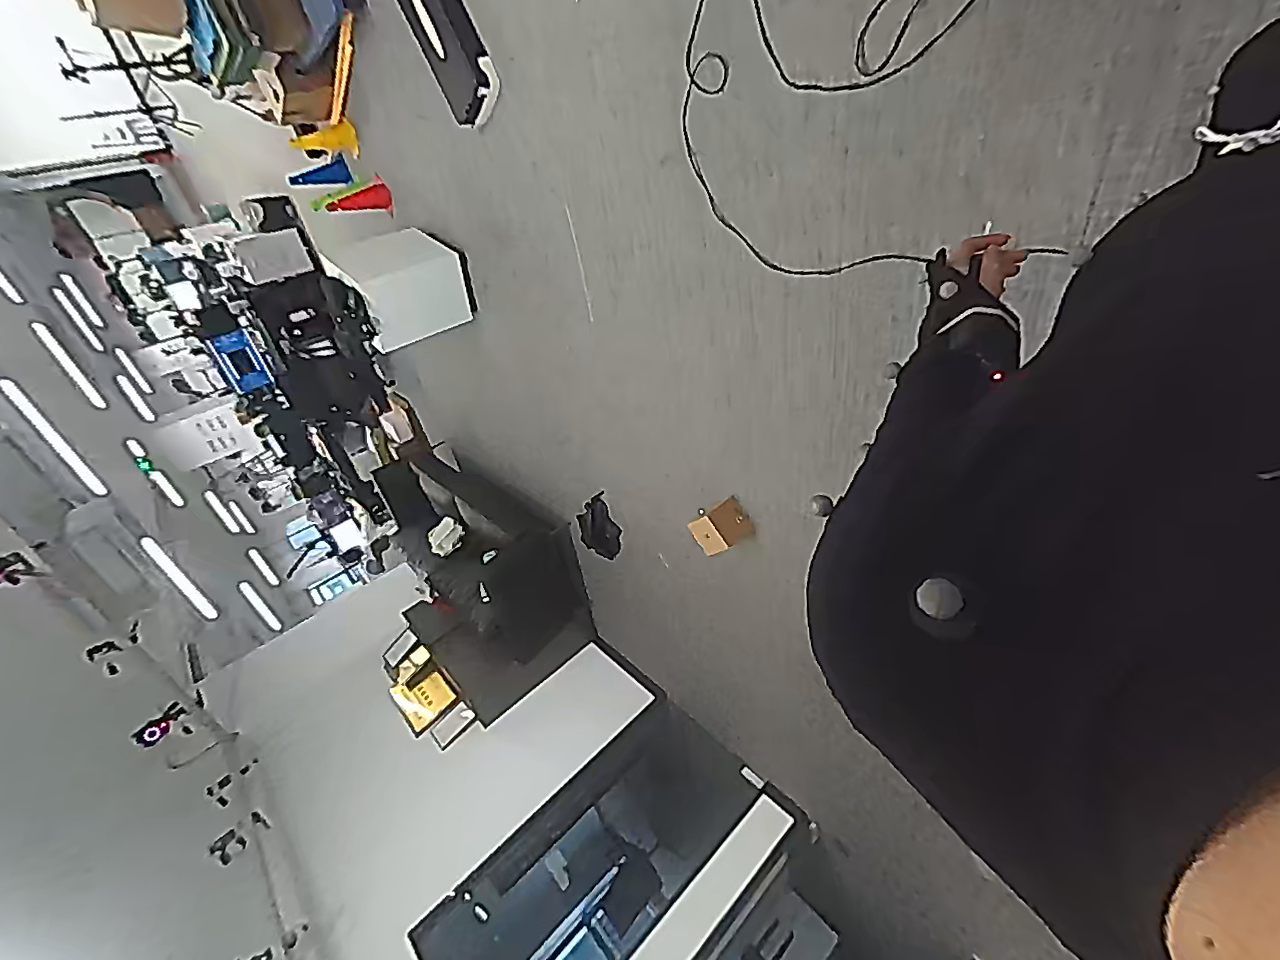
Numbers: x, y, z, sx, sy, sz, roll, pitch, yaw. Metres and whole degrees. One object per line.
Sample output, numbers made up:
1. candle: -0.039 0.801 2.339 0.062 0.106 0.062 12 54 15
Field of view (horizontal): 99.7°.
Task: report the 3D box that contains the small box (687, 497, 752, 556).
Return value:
1. small box: 0.337 0.195 2.280 0.168 0.176 0.179 55 150 2
